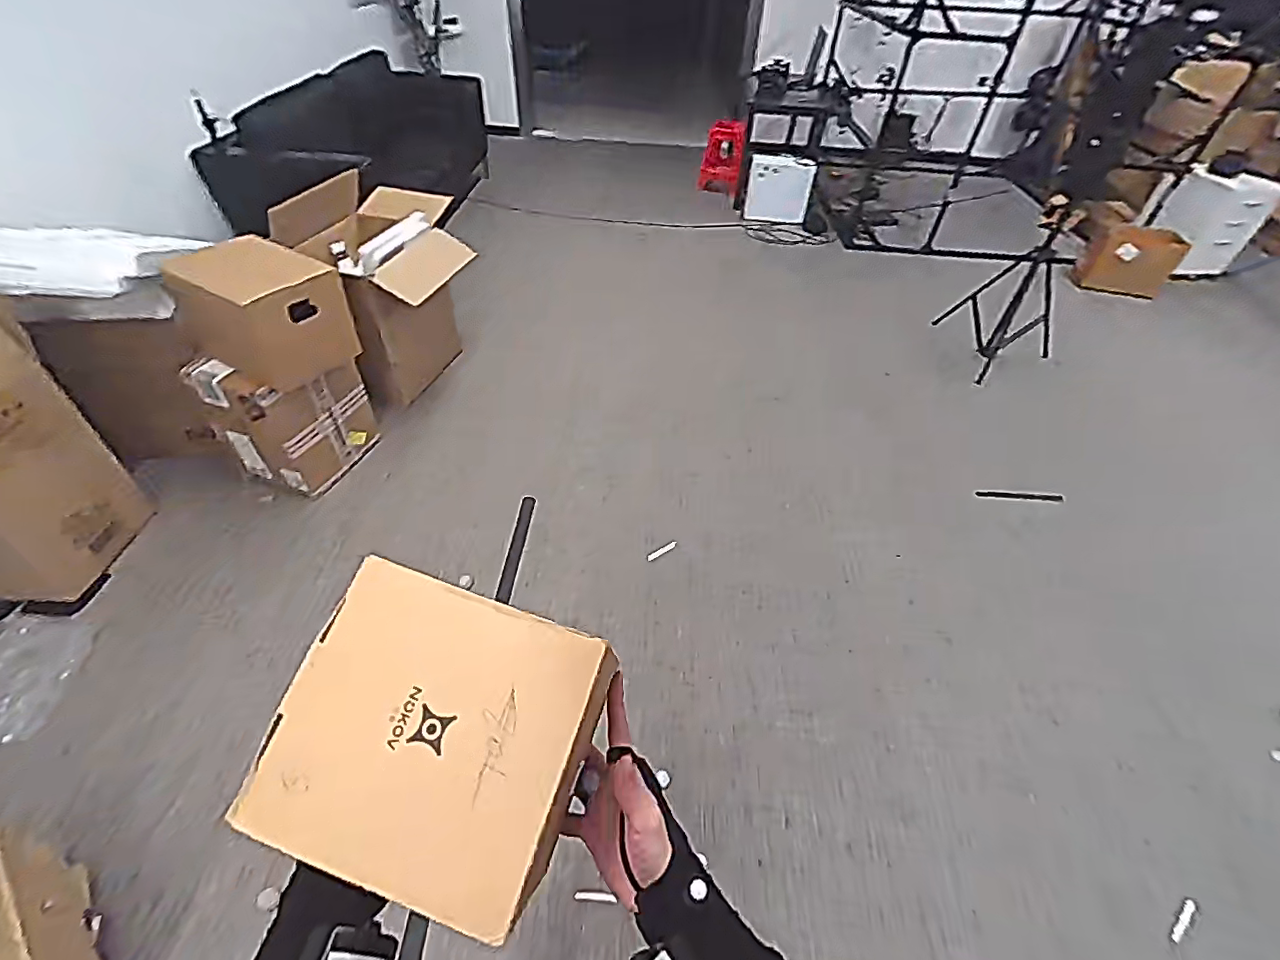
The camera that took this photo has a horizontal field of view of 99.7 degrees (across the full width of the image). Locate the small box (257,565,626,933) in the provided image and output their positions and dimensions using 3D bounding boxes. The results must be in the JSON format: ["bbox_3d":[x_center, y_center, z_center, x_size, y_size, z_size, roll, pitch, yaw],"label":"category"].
[{"bbox_3d":[-0.119,0.183,0.409,0.179,0.176,0.168,17,70,8],"label":"small box"}]
